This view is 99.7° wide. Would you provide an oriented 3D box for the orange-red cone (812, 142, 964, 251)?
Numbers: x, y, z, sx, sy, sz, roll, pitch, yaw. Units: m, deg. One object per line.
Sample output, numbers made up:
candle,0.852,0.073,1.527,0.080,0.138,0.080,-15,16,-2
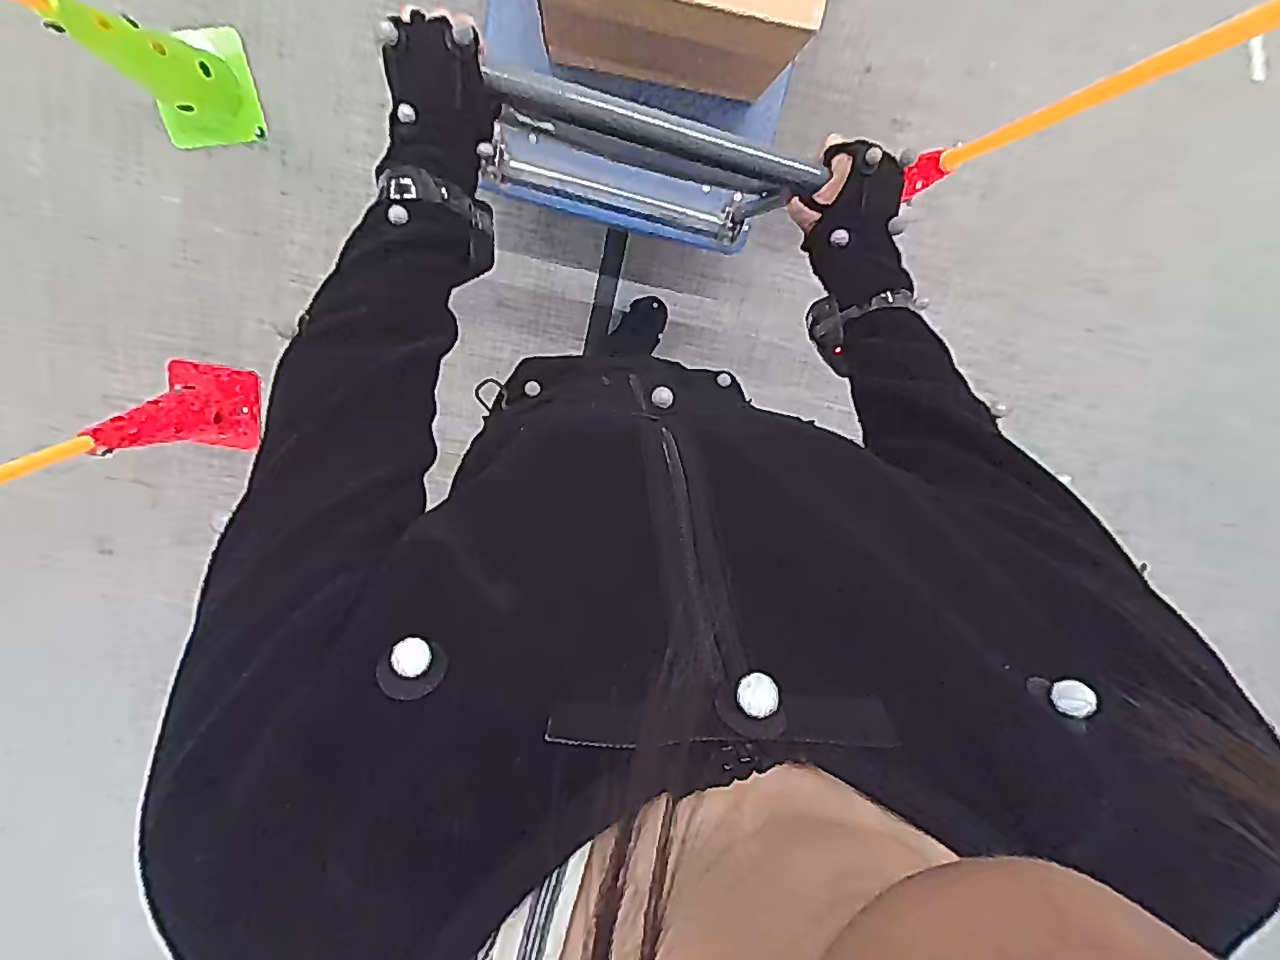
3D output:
orange-red cone,0.547,-0.620,1.132,0.199,0.360,0.198,16,106,-11
